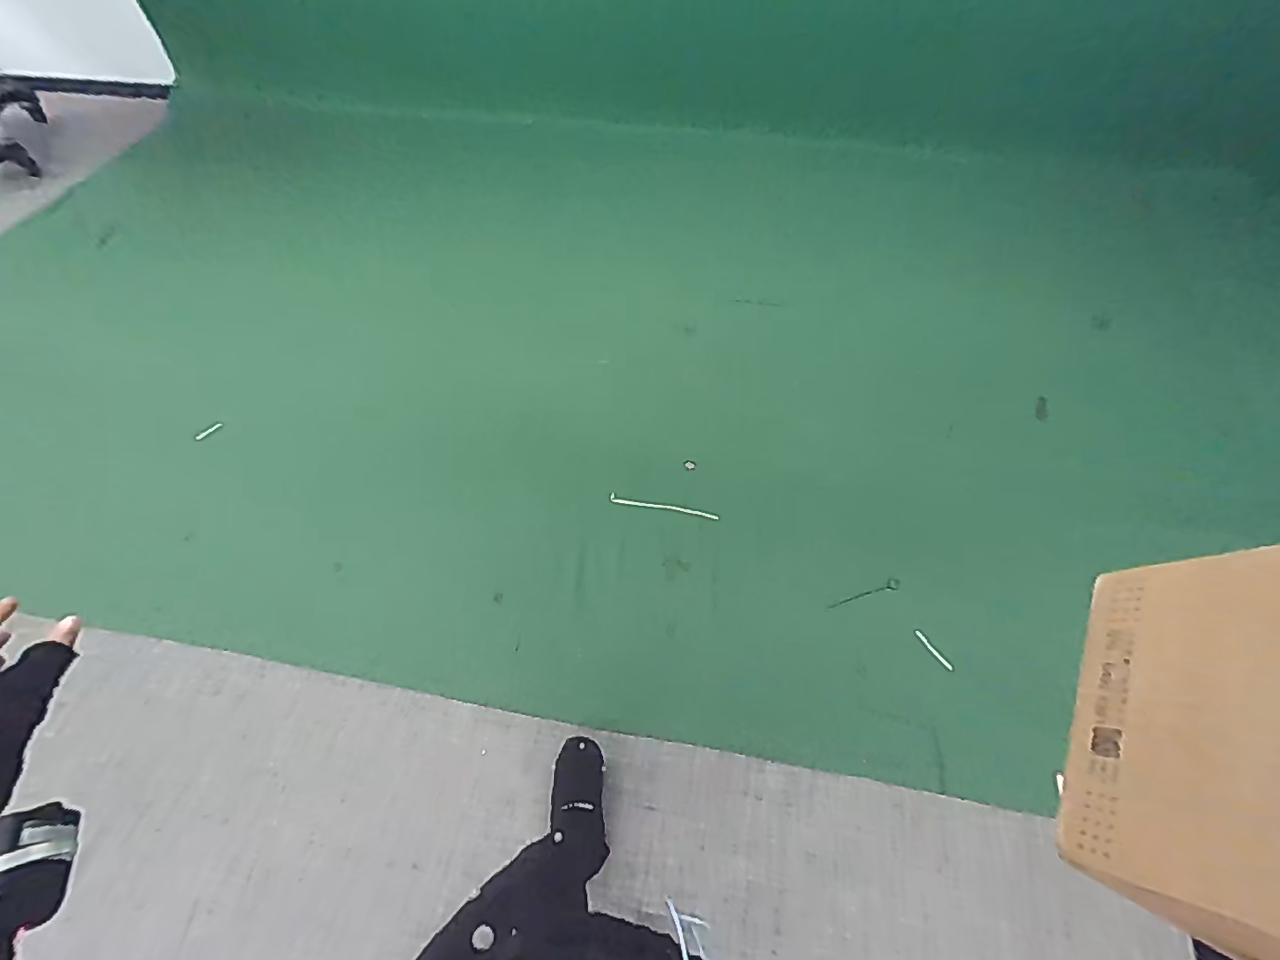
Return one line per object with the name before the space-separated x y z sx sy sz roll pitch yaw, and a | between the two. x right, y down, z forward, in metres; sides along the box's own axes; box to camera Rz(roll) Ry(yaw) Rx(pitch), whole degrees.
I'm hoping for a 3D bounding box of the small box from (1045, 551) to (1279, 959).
small box | 0.330 0.134 0.229 0.179 0.176 0.168 30 68 -1
